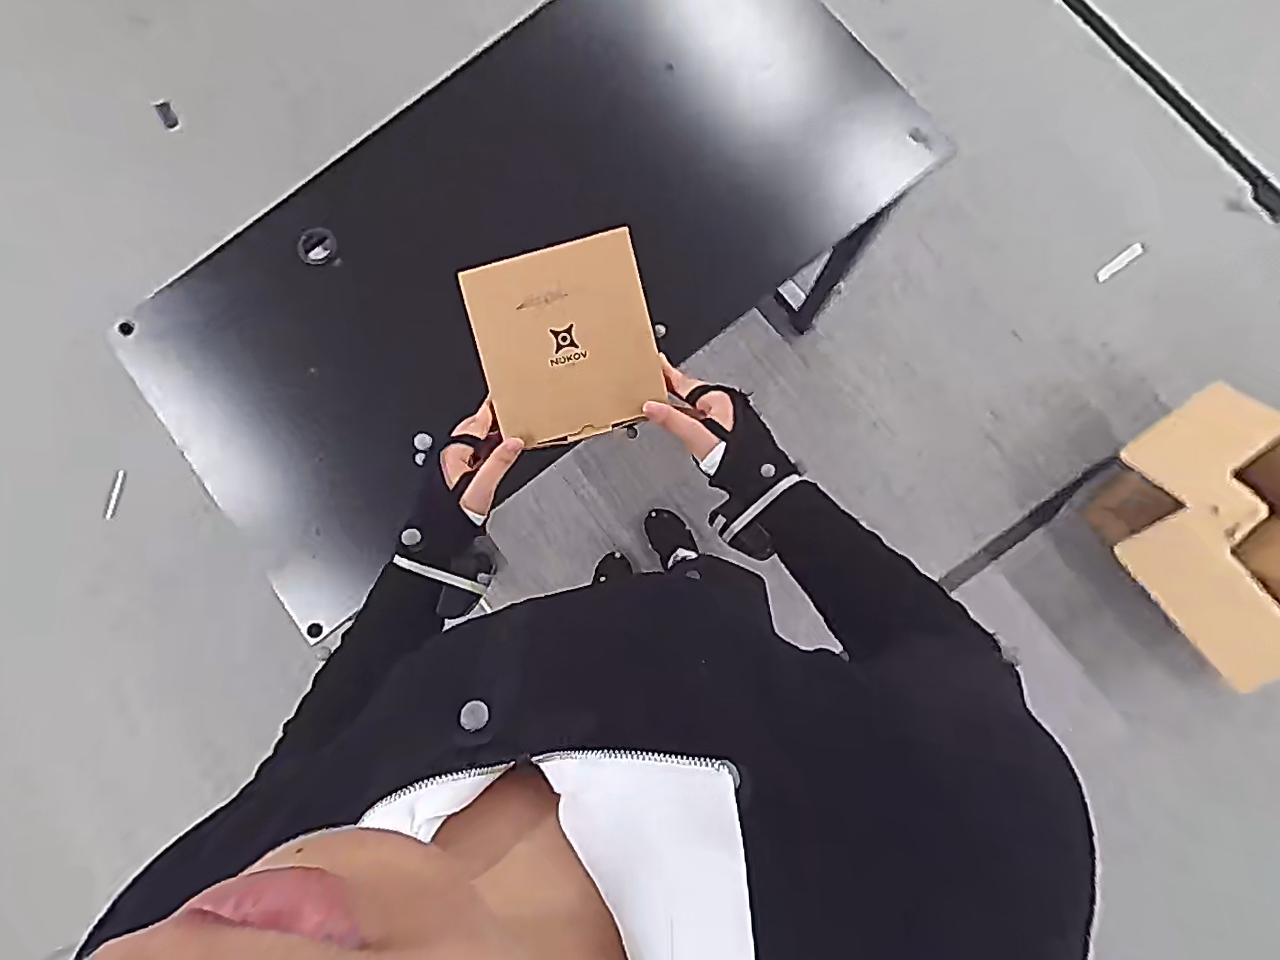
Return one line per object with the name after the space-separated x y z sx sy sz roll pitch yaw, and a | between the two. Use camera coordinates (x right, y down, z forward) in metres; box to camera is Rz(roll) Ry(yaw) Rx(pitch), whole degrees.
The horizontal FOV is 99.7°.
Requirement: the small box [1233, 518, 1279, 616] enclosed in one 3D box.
1.456 0.196 1.159 0.179 0.176 0.168 -44 88 -1 | small box

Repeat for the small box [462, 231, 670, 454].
-0.065 -0.135 0.585 0.168 0.176 0.179 -14 95 3 | small box
